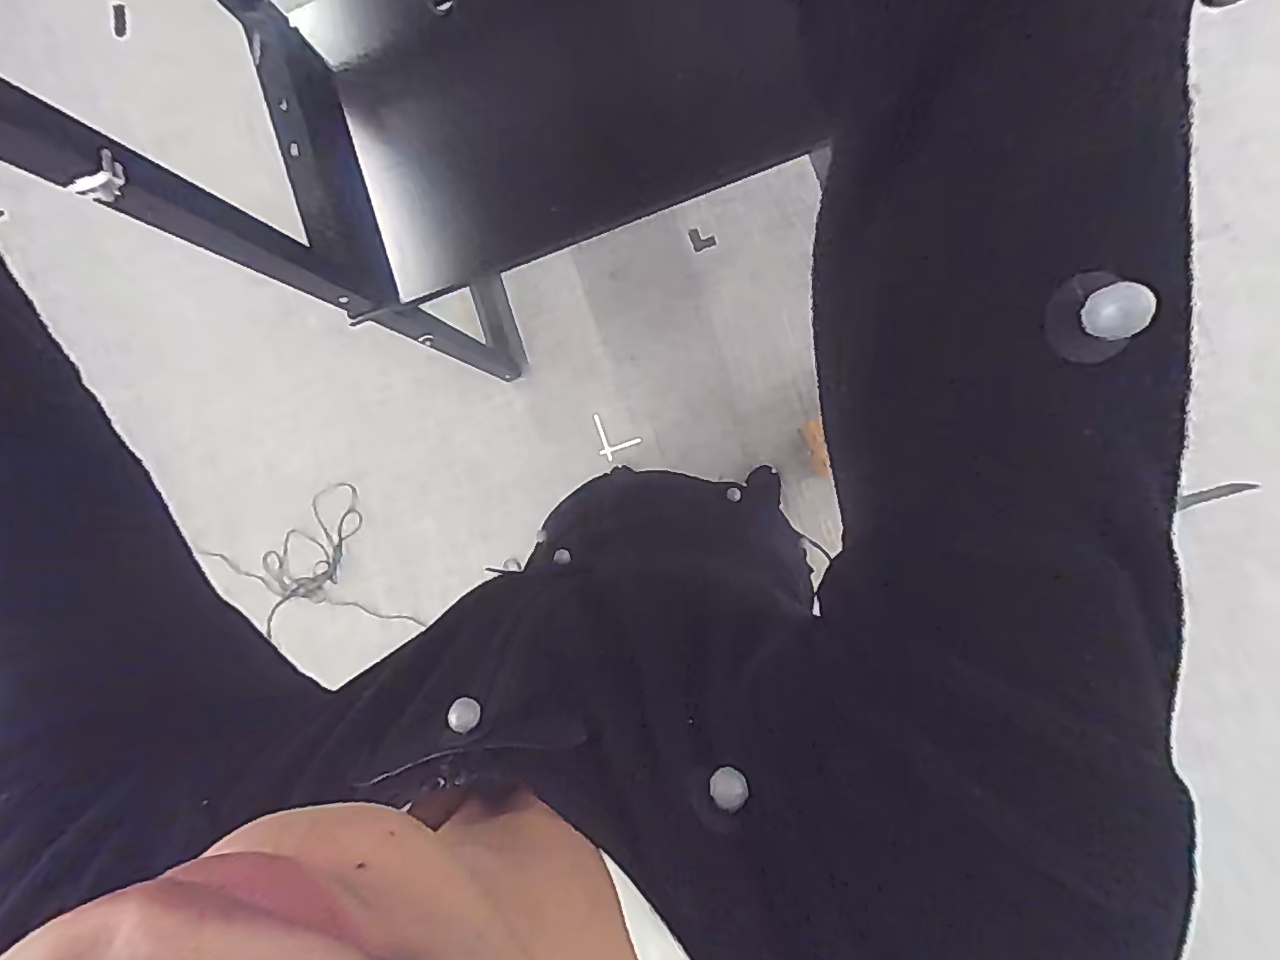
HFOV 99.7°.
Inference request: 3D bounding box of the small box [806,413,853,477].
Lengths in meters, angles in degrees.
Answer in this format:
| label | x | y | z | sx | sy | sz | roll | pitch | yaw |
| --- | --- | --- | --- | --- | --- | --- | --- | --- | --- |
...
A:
| label | x | y | z | sx | sy | sz | roll | pitch | yaw |
| --- | --- | --- | --- | --- | --- | --- | --- | --- | --- |
| small box | 0.574 | -0.112 | 1.481 | 0.179 | 0.176 | 0.168 | -20 | 87 | 9 |
